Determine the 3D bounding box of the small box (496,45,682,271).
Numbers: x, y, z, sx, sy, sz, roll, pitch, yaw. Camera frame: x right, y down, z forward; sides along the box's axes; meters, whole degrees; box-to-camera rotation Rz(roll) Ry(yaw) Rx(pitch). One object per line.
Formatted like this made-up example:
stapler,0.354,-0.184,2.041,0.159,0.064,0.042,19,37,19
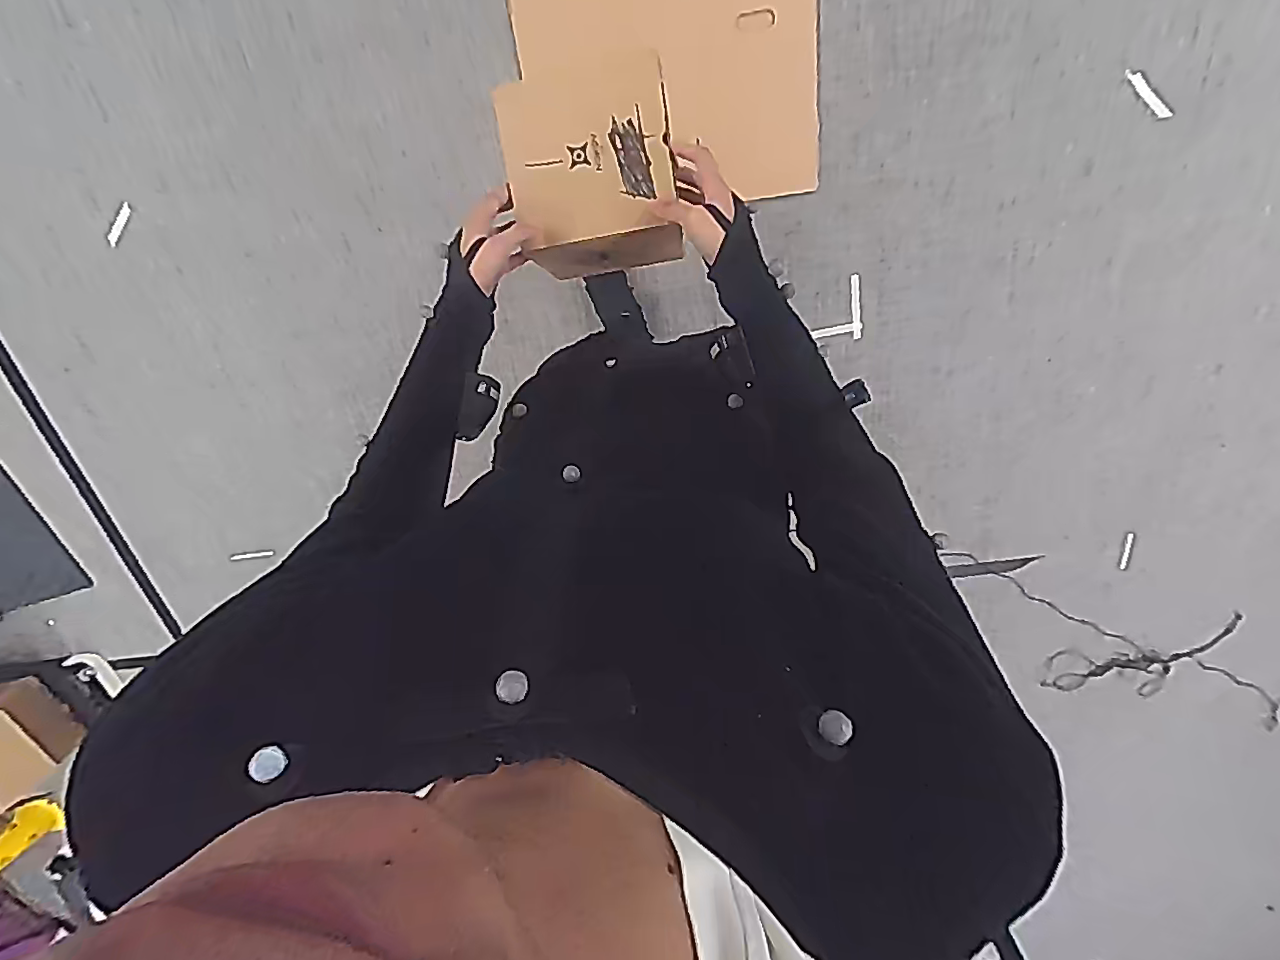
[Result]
small box,-0.045,-0.356,0.634,0.179,0.176,0.168,-7,100,8
